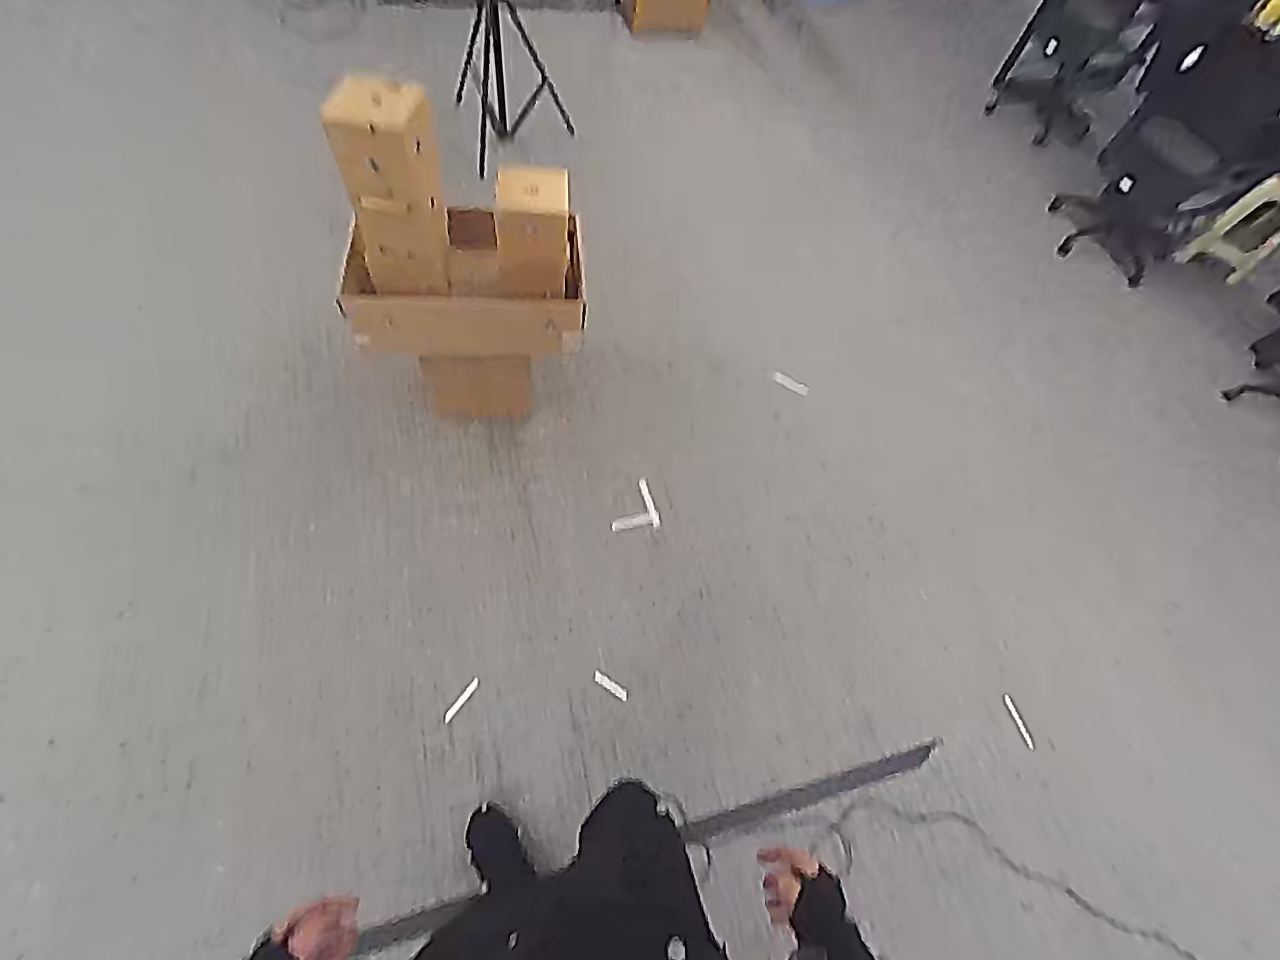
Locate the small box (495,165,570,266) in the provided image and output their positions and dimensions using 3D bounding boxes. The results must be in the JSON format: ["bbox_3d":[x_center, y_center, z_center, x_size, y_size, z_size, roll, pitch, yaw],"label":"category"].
[{"bbox_3d":[-0.268,-0.669,1.380,0.179,0.176,0.168,0,61,-8],"label":"small box"}]

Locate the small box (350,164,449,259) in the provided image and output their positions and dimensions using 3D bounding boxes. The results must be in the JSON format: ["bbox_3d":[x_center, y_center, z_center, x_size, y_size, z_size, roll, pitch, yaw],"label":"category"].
[{"bbox_3d":[-0.581,-0.674,1.334,0.168,0.176,0.179,5,60,-6],"label":"small box"}]

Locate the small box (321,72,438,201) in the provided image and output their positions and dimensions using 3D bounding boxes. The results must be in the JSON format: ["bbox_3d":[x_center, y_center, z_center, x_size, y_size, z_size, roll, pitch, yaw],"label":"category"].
[{"bbox_3d":[-0.558,-0.749,1.189,0.168,0.176,0.179,8,61,-4],"label":"small box"}]
